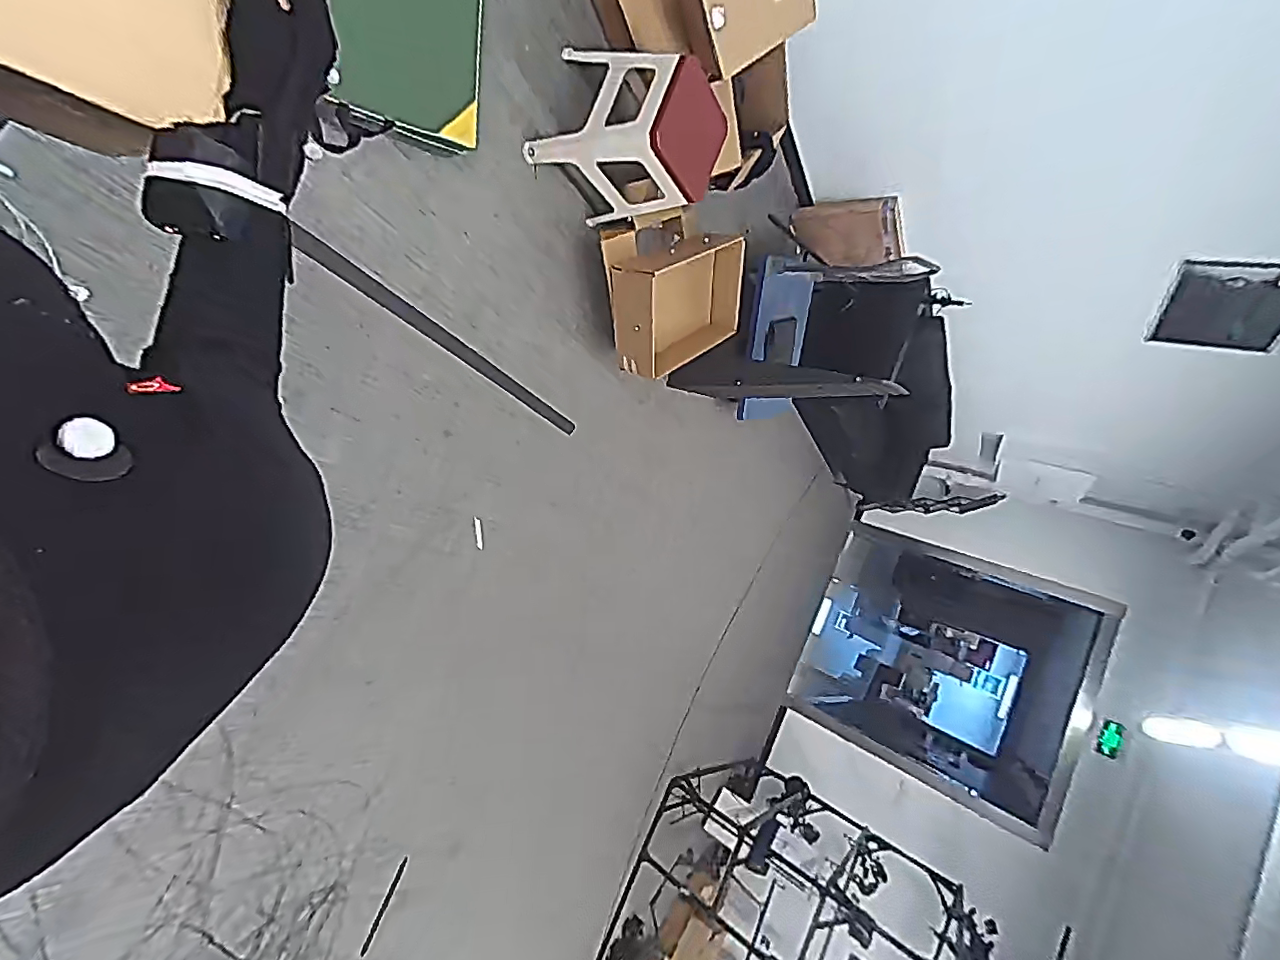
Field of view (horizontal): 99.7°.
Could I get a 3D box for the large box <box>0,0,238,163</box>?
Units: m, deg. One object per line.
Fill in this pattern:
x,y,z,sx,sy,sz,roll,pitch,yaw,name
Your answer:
-0.508,-0.427,0.296,0.408,0.320,0.320,2,108,-56,large box
